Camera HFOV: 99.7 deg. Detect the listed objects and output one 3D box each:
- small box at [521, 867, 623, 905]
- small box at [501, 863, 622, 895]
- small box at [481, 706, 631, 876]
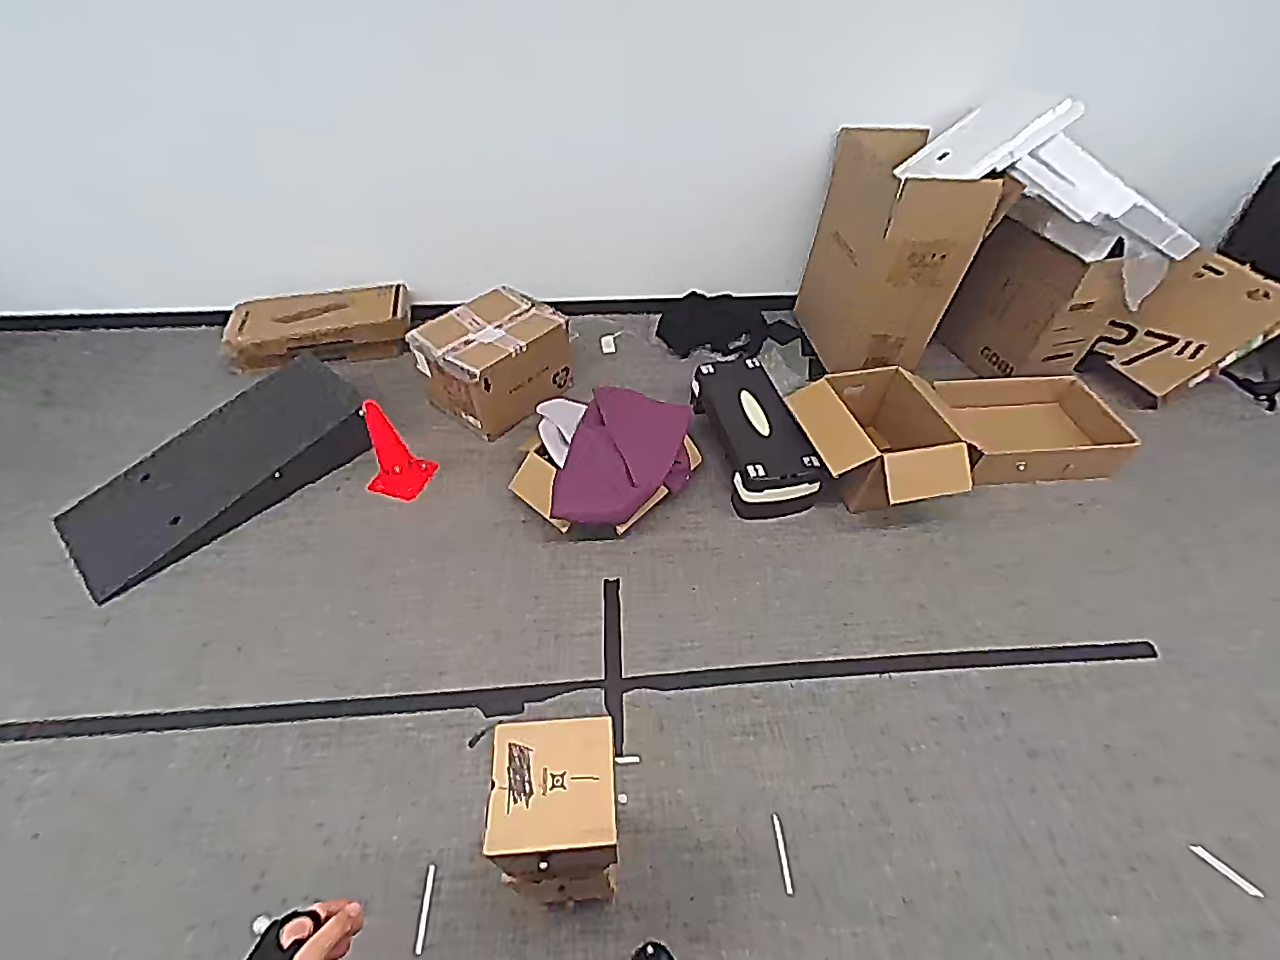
[{"bbox_3d":[-0.116,0.650,0.980,0.168,0.176,0.179,-3,49,-2],"label":"small box"},{"bbox_3d":[-0.114,0.543,0.855,0.168,0.176,0.179,-2,49,-3],"label":"small box"},{"bbox_3d":[-0.104,0.426,0.738,0.179,0.176,0.168,-3,49,-4],"label":"small box"}]
